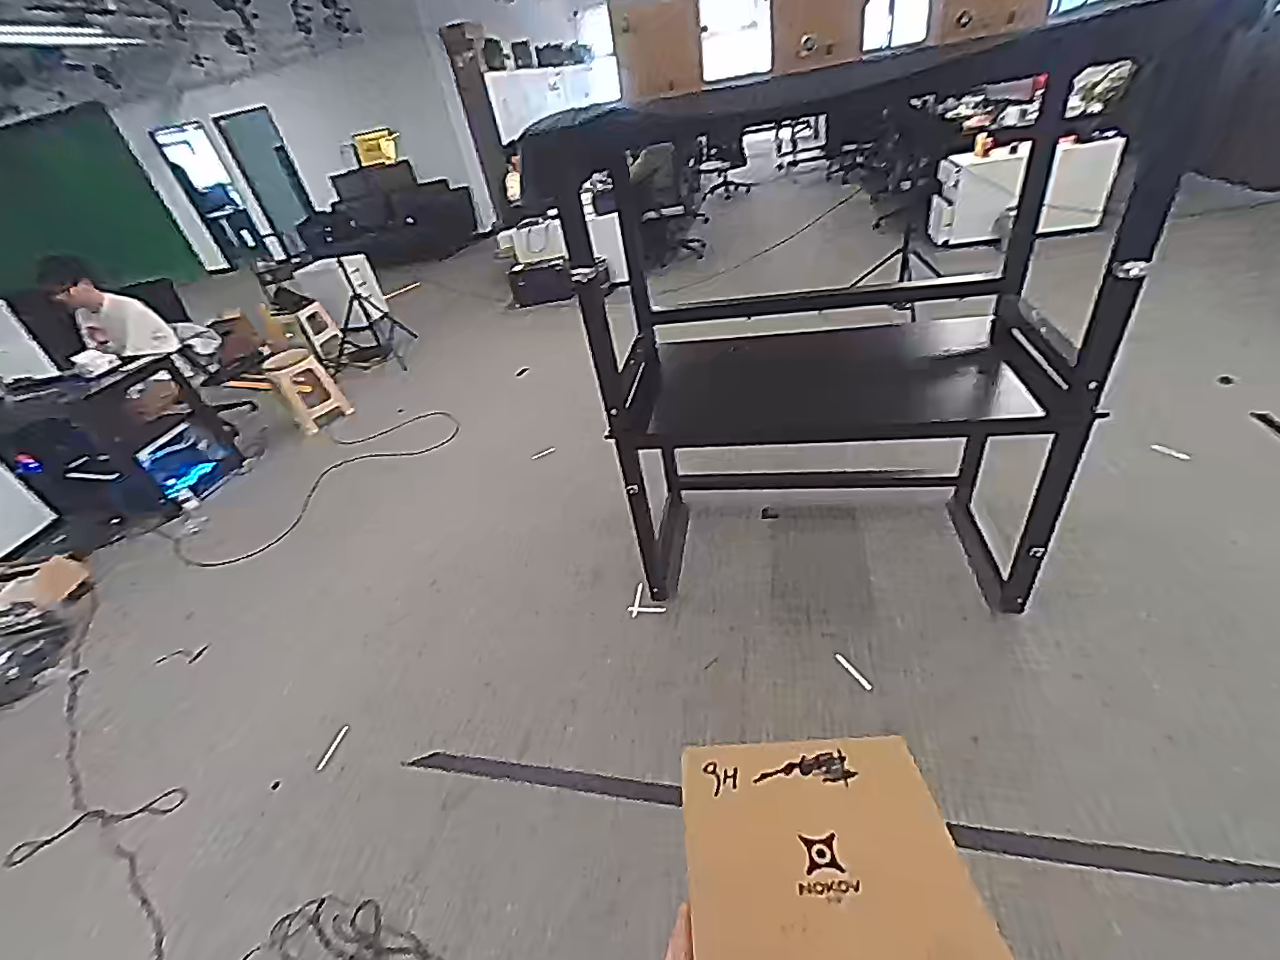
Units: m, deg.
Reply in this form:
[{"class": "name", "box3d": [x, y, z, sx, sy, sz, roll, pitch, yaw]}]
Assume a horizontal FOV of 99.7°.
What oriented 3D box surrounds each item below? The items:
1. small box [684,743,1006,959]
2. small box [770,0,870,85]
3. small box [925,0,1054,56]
[{"class": "small box", "box3d": [0.120, 0.309, 0.361, 0.168, 0.176, 0.179, -4, 28, 3]}, {"class": "small box", "box3d": [0.329, -0.846, 0.999, 0.168, 0.176, 0.179, 0, 36, 17]}, {"class": "small box", "box3d": [0.605, -0.856, 0.935, 0.168, 0.176, 0.179, 0, 36, 16]}]
